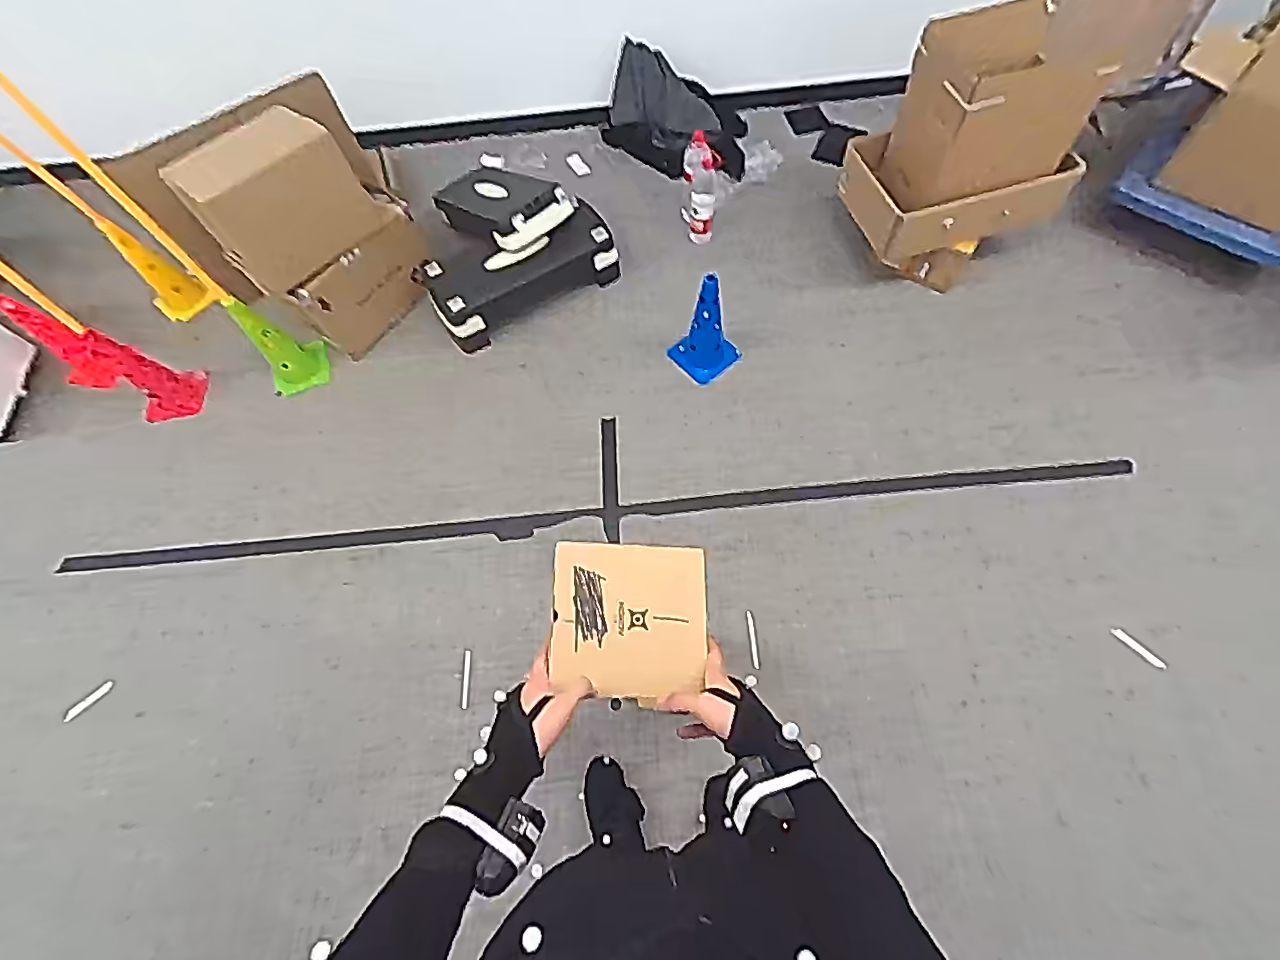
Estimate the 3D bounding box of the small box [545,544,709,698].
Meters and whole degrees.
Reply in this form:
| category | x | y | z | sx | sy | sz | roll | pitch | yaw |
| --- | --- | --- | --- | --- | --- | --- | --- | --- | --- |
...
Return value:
| category | x | y | z | sx | sy | sz | roll | pitch | yaw |
| --- | --- | --- | --- | --- | --- | --- | --- | --- | --- |
| small box | -0.017 | 0.180 | 0.670 | 0.179 | 0.176 | 0.168 | 2 | 70 | -4 |
